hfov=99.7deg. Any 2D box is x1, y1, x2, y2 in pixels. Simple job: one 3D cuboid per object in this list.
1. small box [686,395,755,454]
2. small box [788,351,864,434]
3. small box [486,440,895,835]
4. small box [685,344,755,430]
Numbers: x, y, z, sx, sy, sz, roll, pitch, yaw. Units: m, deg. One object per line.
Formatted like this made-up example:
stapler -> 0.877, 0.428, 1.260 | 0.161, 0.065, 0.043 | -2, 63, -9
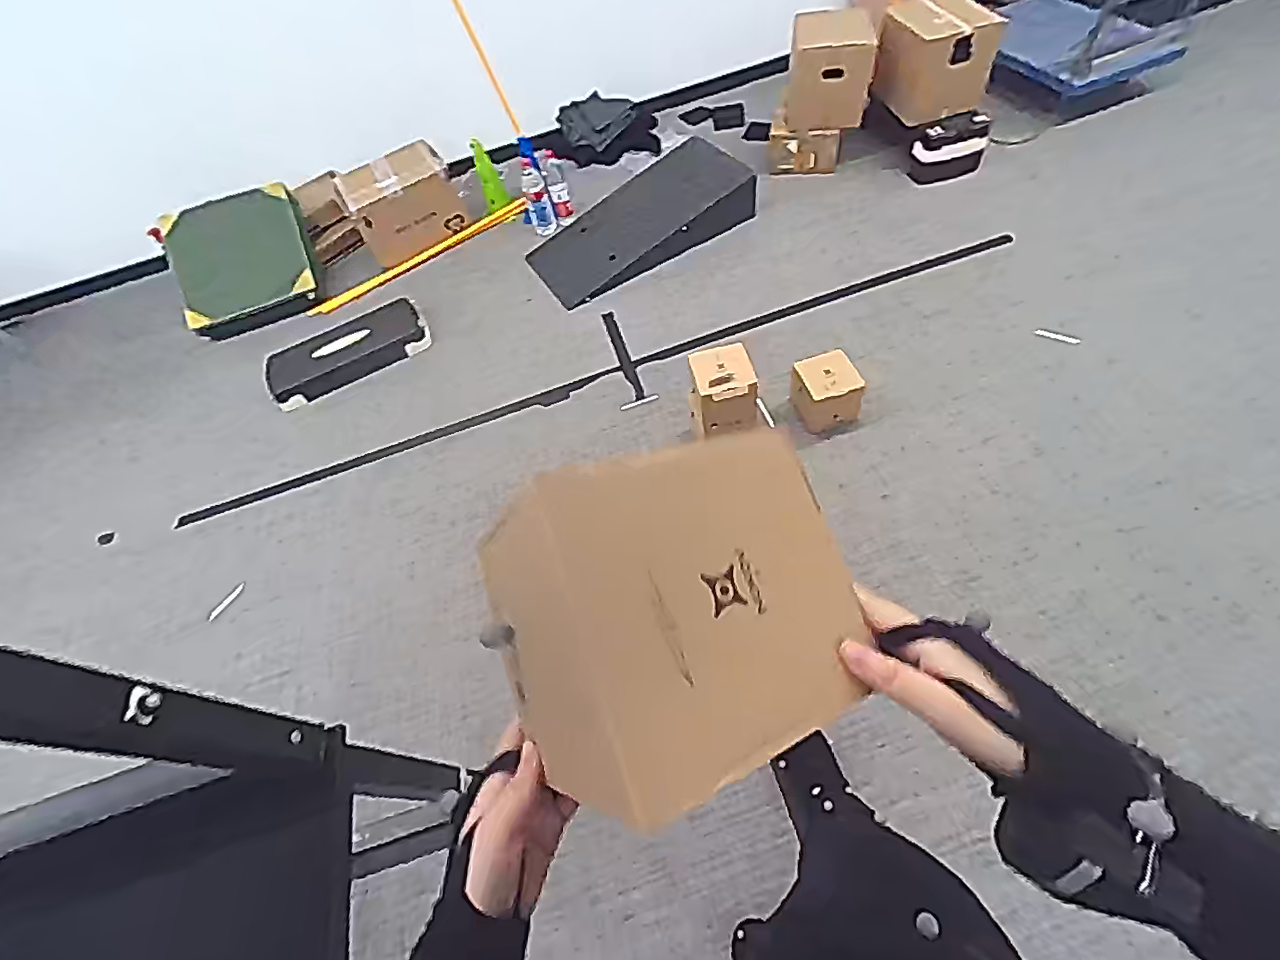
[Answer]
small box -> 0.256, -0.179, 1.737 | 0.179, 0.176, 0.168 | -16, 55, -2
small box -> 0.590, -0.280, 1.742 | 0.168, 0.176, 0.179 | -17, 56, -1
small box -> 0.017, 0.089, 0.353 | 0.179, 0.176, 0.168 | -11, 75, -30
small box -> 0.237, -0.266, 1.597 | 0.168, 0.176, 0.179 | -13, 55, 1
